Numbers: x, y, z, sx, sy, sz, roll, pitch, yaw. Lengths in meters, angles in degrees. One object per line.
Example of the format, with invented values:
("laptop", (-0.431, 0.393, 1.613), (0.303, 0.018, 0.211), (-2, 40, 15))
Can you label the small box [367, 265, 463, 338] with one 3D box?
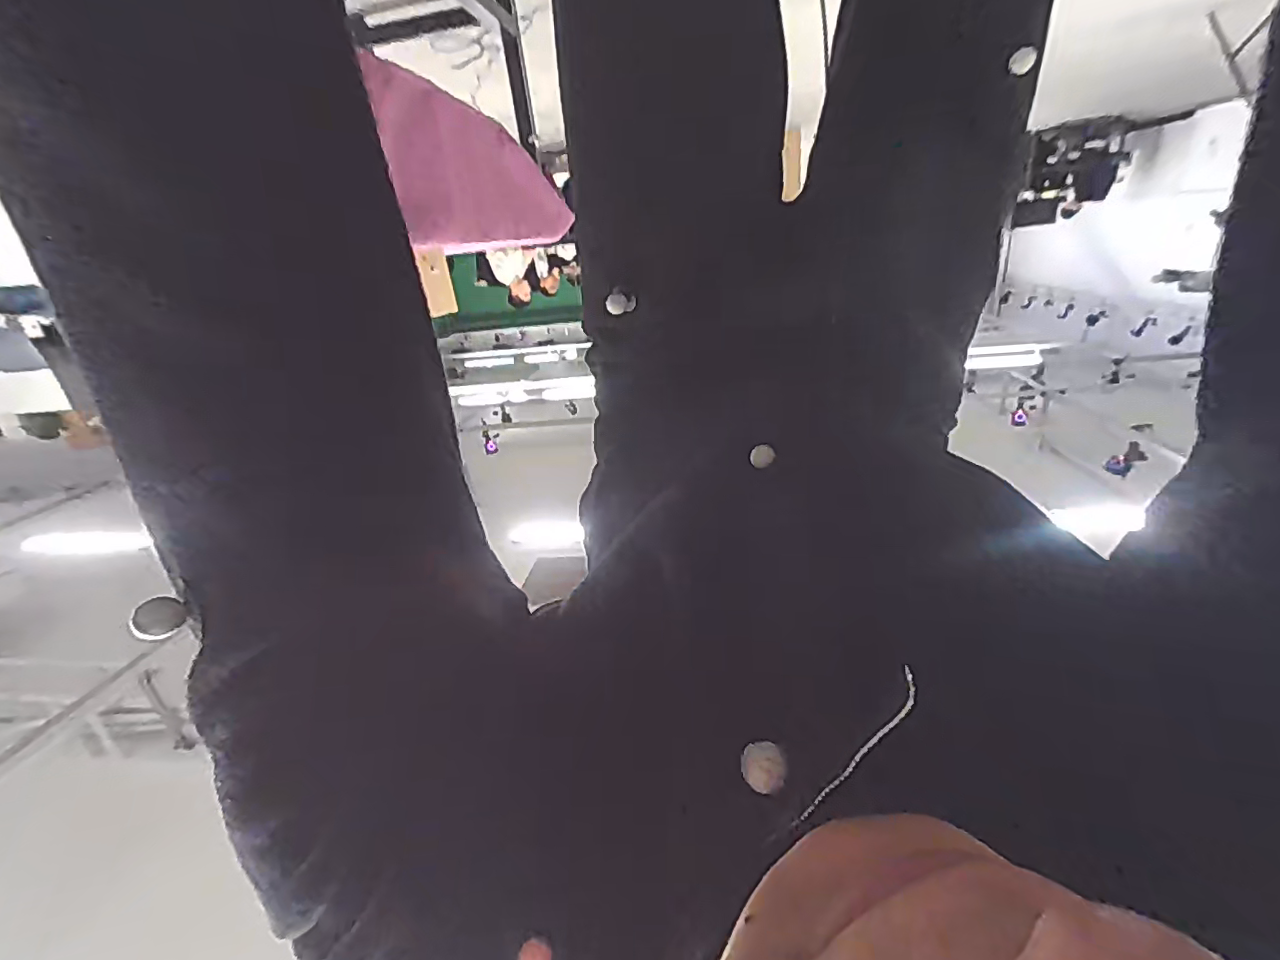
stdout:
("small box", (-0.619, -0.494, 1.486), (0.179, 0.176, 0.168), (-2, -157, 15))
